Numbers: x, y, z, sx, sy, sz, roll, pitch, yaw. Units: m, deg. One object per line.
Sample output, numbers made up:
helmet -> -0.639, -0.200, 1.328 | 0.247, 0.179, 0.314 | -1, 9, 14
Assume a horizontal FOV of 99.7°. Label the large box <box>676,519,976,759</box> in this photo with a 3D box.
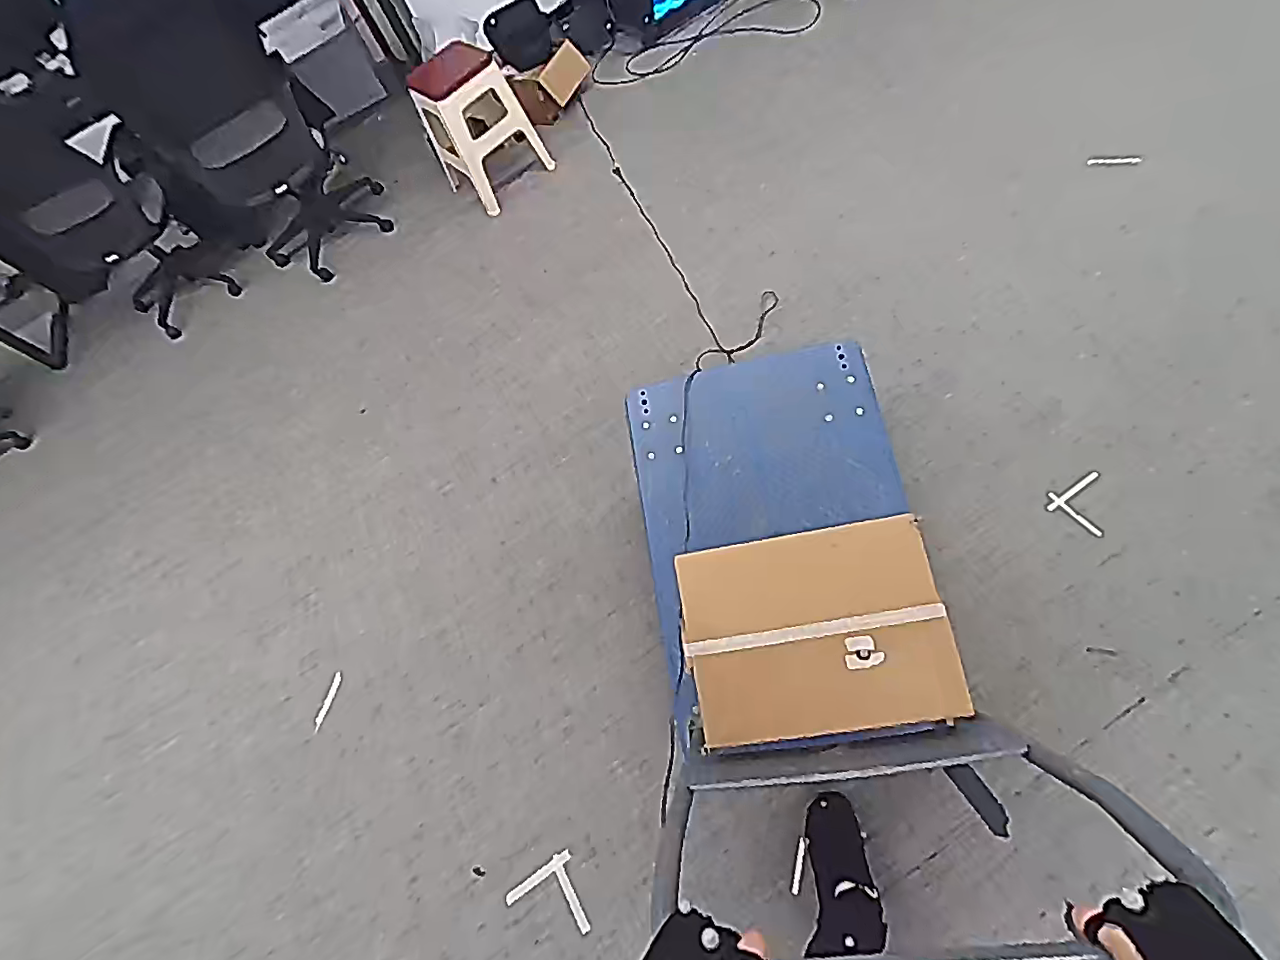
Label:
large box -> 0.301, 0.283, 0.993 | 0.408, 0.320, 0.320 | -11, 76, 8
